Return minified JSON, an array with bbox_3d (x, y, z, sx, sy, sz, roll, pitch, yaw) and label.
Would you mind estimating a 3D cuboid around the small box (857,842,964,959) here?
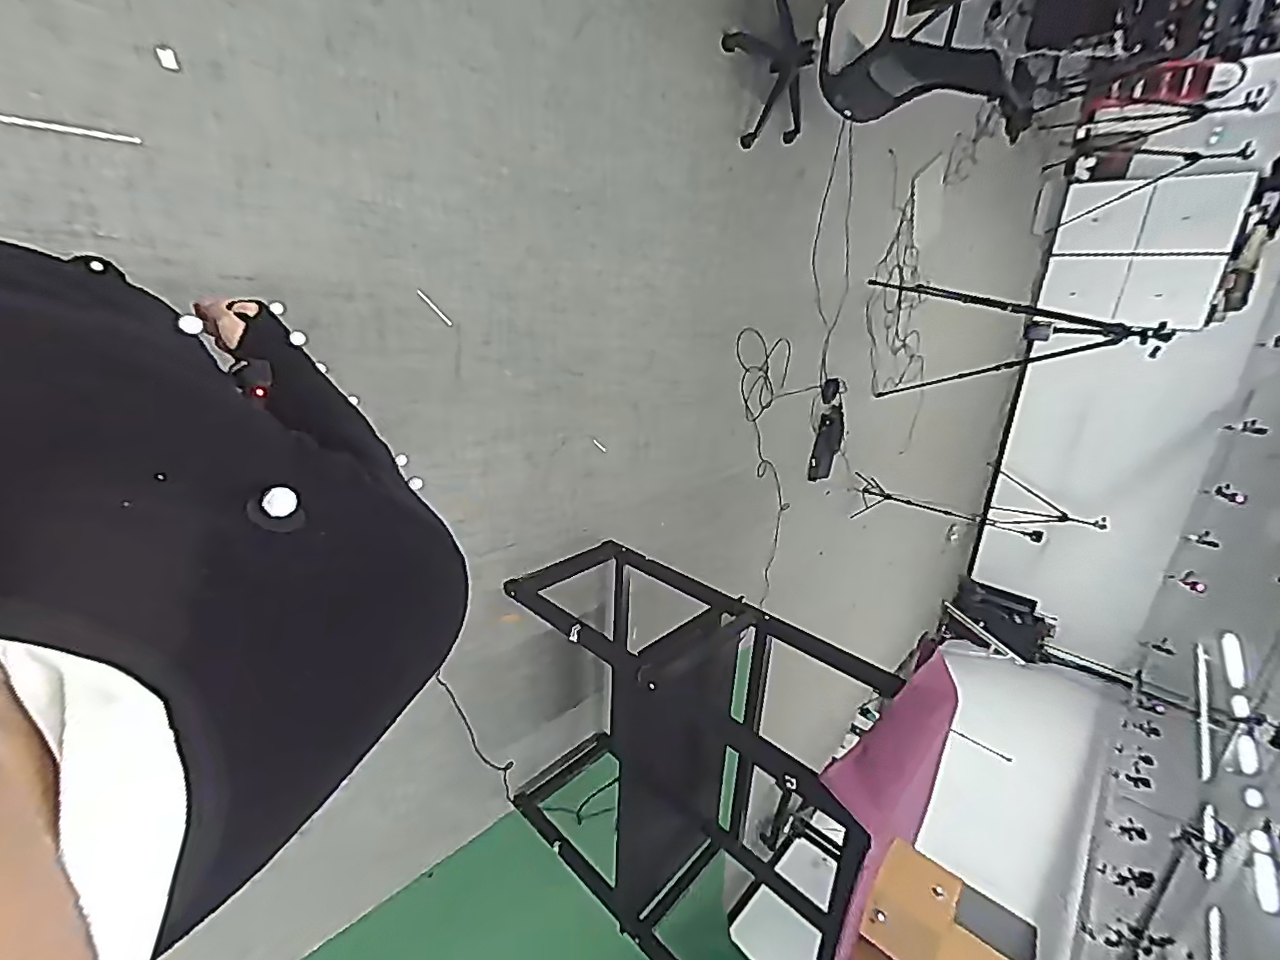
[{"bbox_3d":[0.647,1.028,1.299,0.179,0.176,0.168,-12,113,-46],"label":"small box"}]
